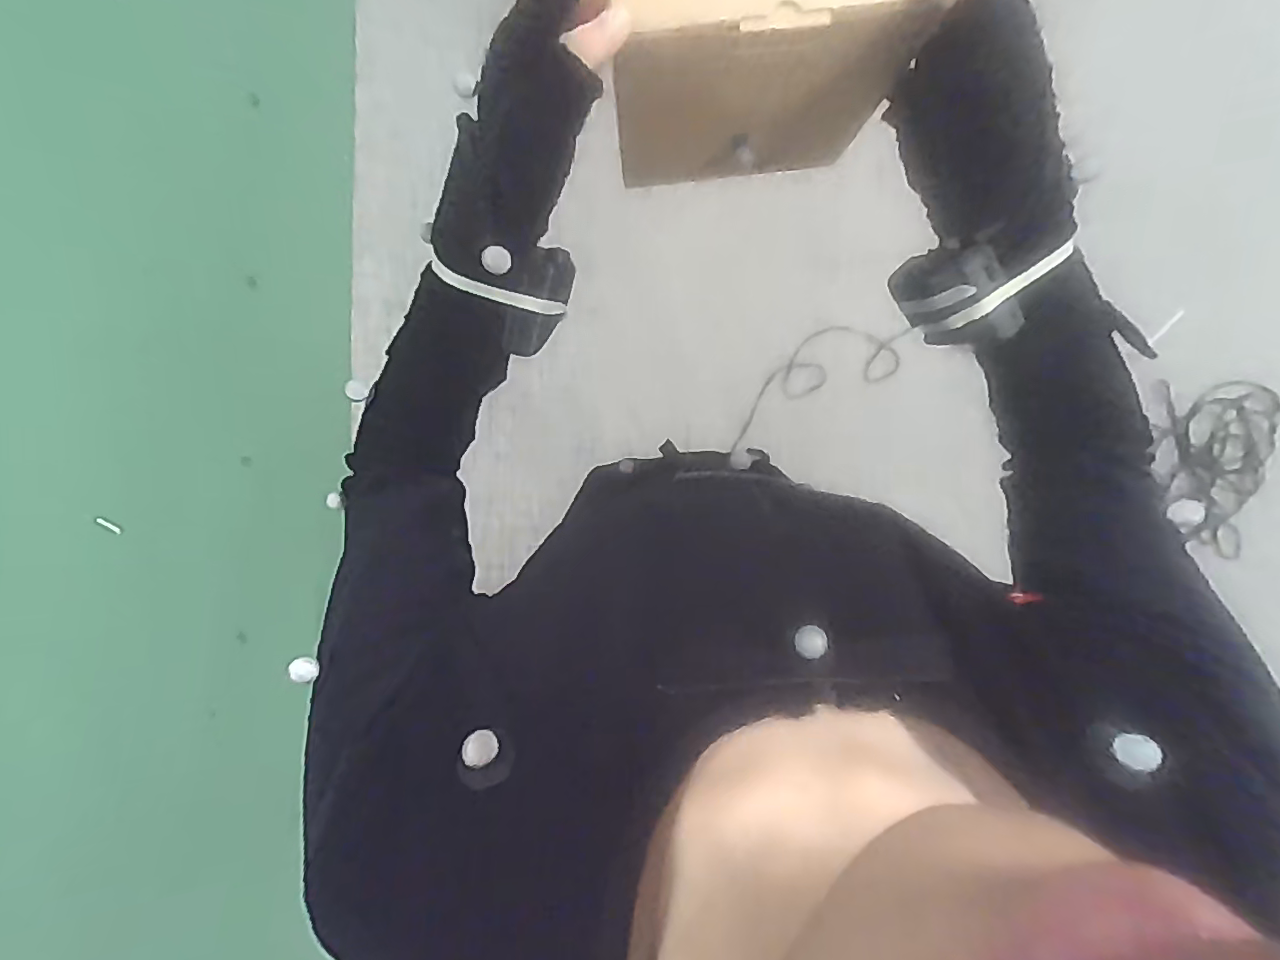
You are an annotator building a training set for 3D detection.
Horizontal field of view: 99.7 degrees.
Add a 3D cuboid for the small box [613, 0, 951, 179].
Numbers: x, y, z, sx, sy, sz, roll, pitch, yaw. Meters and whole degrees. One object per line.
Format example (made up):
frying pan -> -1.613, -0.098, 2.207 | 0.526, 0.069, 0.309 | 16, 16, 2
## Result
small box -> 0.065, -0.318, 0.330 | 0.168, 0.176, 0.179 | -5, 95, 1
